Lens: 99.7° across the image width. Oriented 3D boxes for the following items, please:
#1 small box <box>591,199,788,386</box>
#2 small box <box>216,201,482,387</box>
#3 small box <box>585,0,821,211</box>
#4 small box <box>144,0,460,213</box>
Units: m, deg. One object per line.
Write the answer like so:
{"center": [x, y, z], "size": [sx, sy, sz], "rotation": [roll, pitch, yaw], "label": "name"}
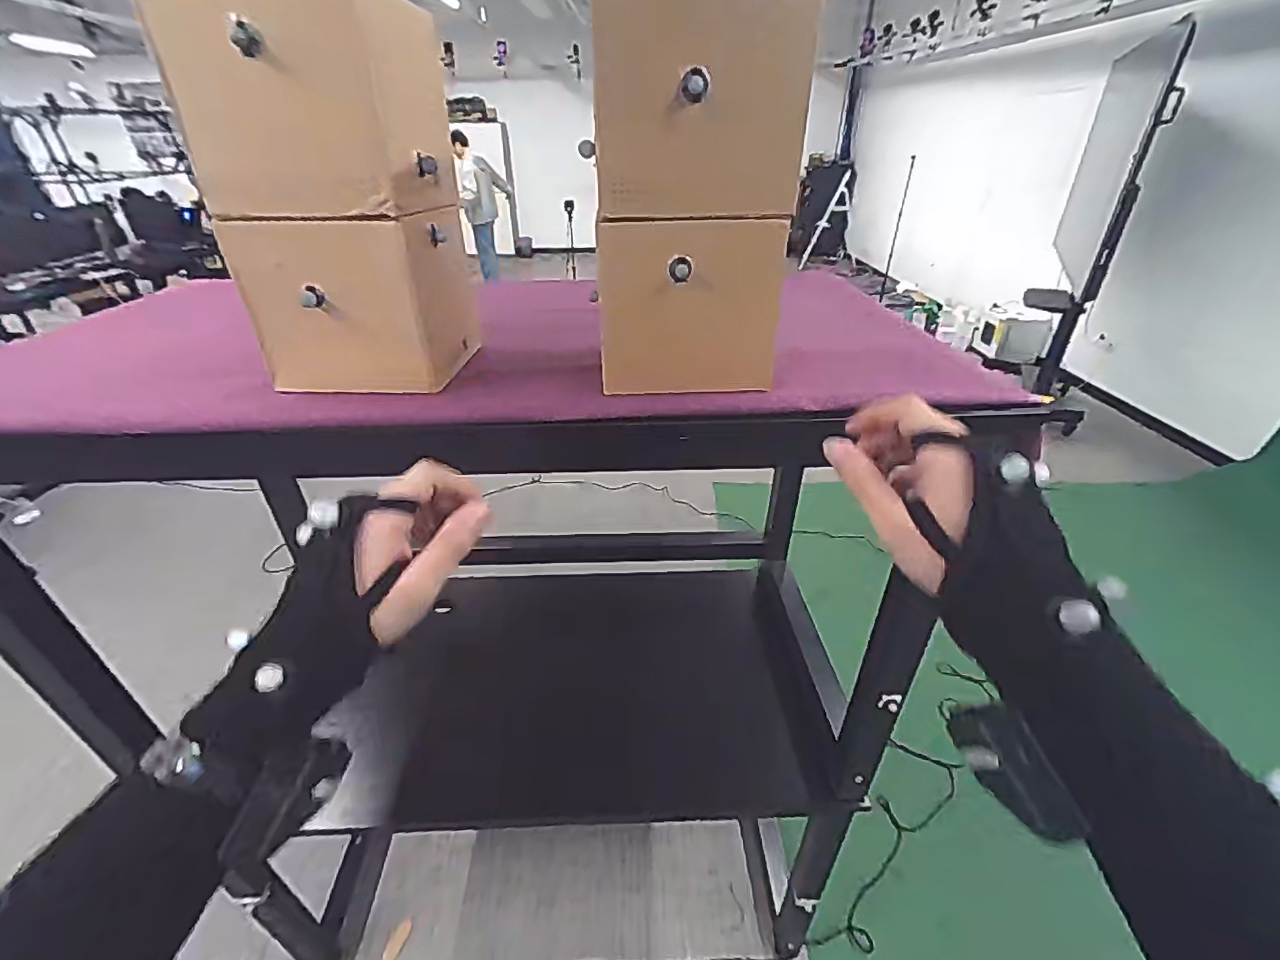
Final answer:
{"center": [0.045, -0.207, 0.579], "size": [0.179, 0.176, 0.168], "rotation": [-2, 33, 0], "label": "small box"}
{"center": [-0.291, -0.206, 0.589], "size": [0.179, 0.176, 0.168], "rotation": [0, 32, 2], "label": "small box"}
{"center": [0.045, -0.346, 0.492], "size": [0.179, 0.176, 0.168], "rotation": [-3, 33, -1], "label": "small box"}
{"center": [-0.291, -0.346, 0.504], "size": [0.179, 0.176, 0.168], "rotation": [2, 32, 3], "label": "small box"}
